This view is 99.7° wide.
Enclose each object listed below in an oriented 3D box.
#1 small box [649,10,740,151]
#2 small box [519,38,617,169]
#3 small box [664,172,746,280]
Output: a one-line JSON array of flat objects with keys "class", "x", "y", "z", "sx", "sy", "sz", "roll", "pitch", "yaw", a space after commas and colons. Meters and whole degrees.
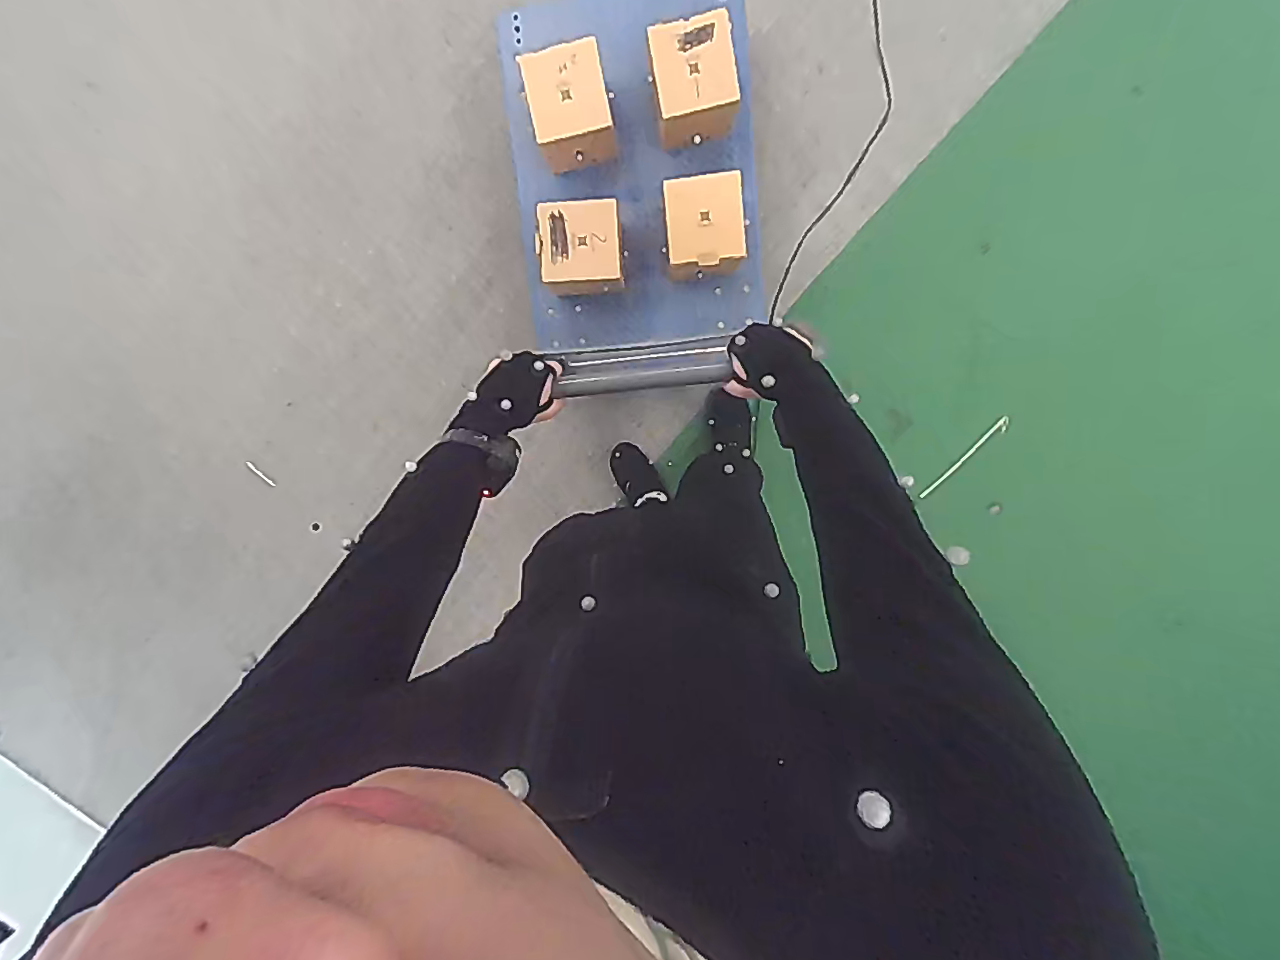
[{"class": "small box", "x": 0.115, "y": -0.858, "z": 1.178, "sx": 0.168, "sy": 0.176, "sz": 0.179, "roll": -10, "pitch": 100, "yaw": 5}, {"class": "small box", "x": -0.150, "y": -0.817, "z": 1.197, "sx": 0.168, "sy": 0.176, "sz": 0.179, "roll": -11, "pitch": 99, "yaw": 4}, {"class": "small box", "x": 0.143, "y": -0.568, "z": 1.230, "sx": 0.168, "sy": 0.176, "sz": 0.179, "roll": -6, "pitch": 100, "yaw": 3}]
